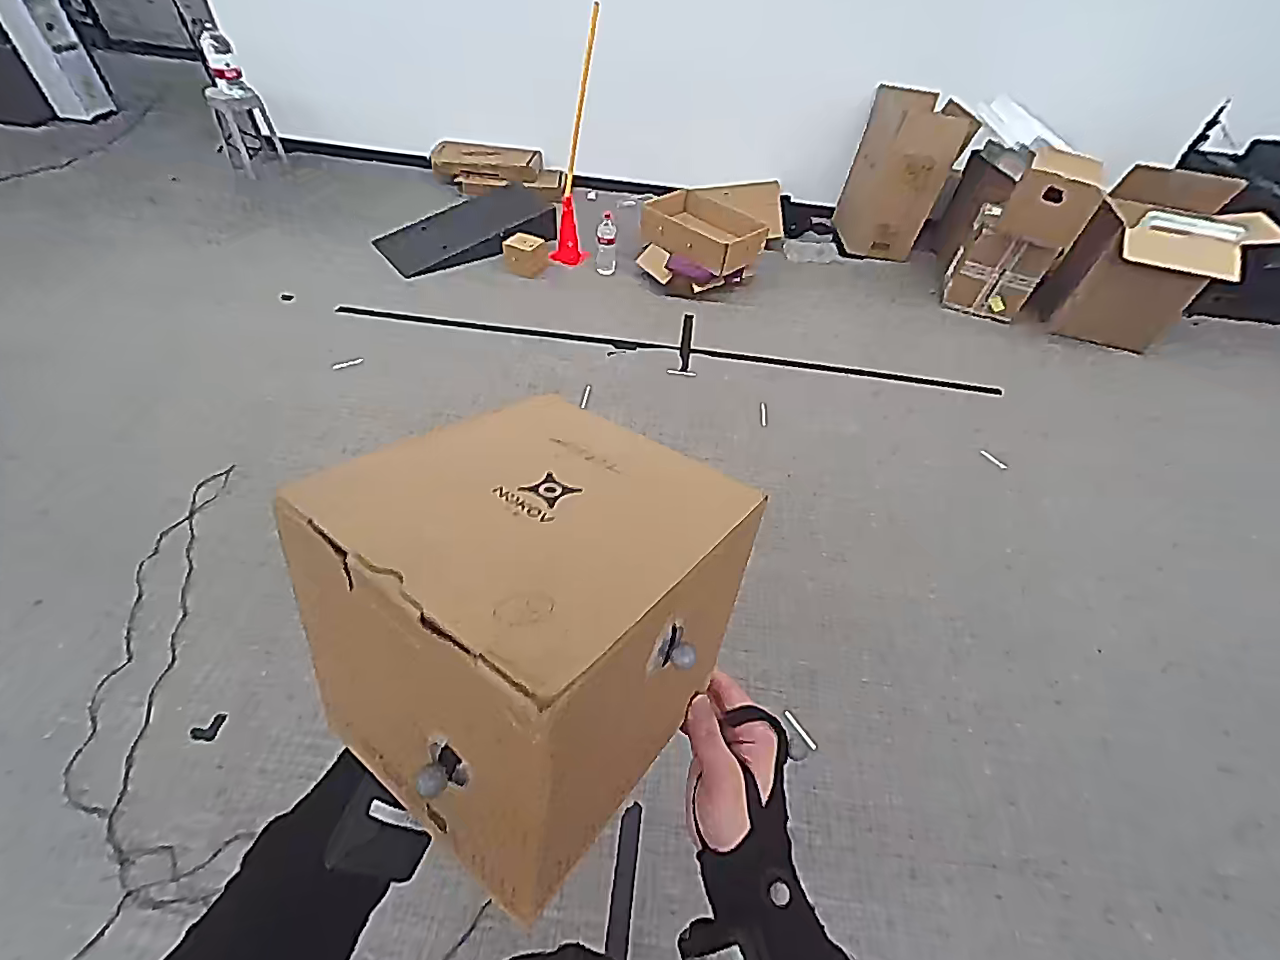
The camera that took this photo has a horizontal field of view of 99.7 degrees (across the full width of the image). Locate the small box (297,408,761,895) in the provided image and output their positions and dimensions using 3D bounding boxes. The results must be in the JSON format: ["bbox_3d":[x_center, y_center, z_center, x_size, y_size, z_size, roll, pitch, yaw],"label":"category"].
[{"bbox_3d":[-0.055,0.082,0.316,0.168,0.176,0.179,27,35,25],"label":"small box"}]
